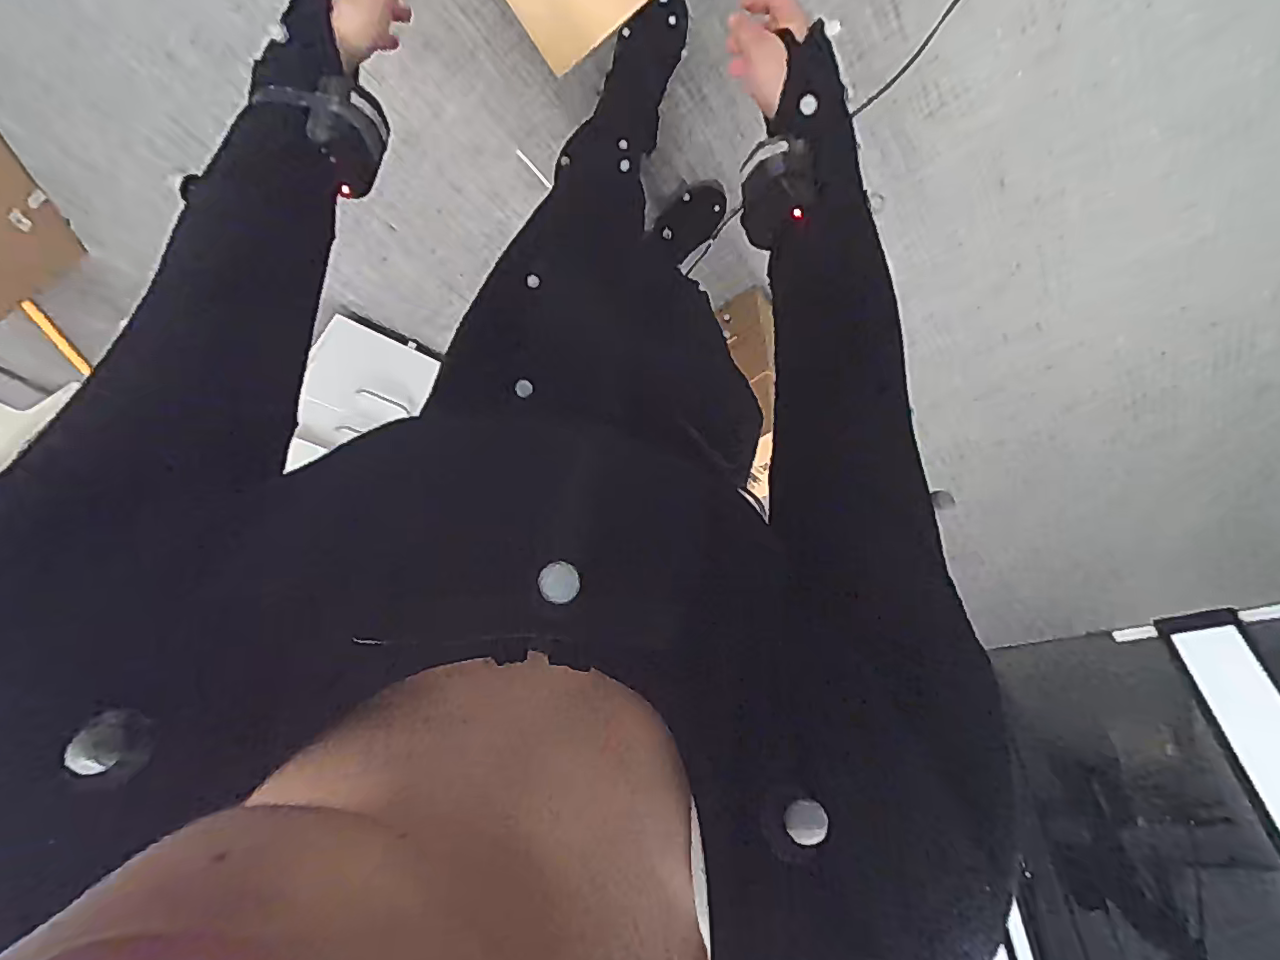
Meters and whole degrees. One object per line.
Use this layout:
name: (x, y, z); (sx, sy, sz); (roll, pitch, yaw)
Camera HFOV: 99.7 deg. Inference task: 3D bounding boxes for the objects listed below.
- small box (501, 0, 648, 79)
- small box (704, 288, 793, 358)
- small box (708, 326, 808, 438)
small box: (-0.067, -0.586, 0.573); (0.179, 0.176, 0.168); (-22, 136, 28)
small box: (0.275, -0.363, 1.385); (0.168, 0.176, 0.179); (-25, 134, 33)
small box: (0.273, -0.237, 1.281); (0.168, 0.176, 0.179); (-26, 135, 36)
